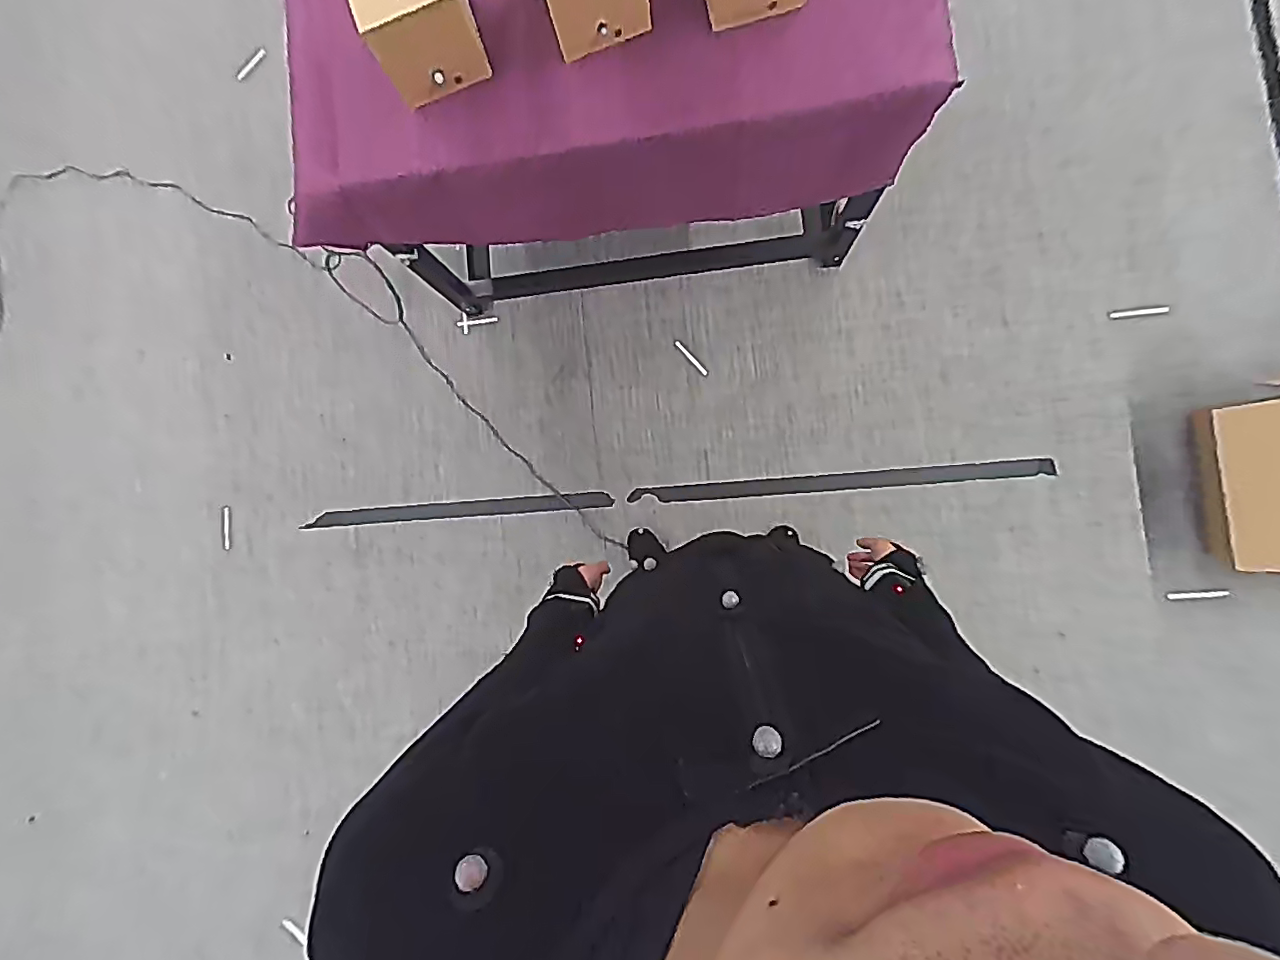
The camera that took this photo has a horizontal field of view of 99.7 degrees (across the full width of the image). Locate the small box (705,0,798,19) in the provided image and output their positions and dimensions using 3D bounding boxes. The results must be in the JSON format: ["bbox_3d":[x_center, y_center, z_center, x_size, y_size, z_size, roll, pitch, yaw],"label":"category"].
[{"bbox_3d":[0.179,-0.890,0.862,0.168,0.176,0.179,-12,86,5],"label":"small box"}]

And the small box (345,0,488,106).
[{"bbox_3d":[-0.384,-0.796,0.920,0.168,0.176,0.179,-19,86,5],"label":"small box"}]
